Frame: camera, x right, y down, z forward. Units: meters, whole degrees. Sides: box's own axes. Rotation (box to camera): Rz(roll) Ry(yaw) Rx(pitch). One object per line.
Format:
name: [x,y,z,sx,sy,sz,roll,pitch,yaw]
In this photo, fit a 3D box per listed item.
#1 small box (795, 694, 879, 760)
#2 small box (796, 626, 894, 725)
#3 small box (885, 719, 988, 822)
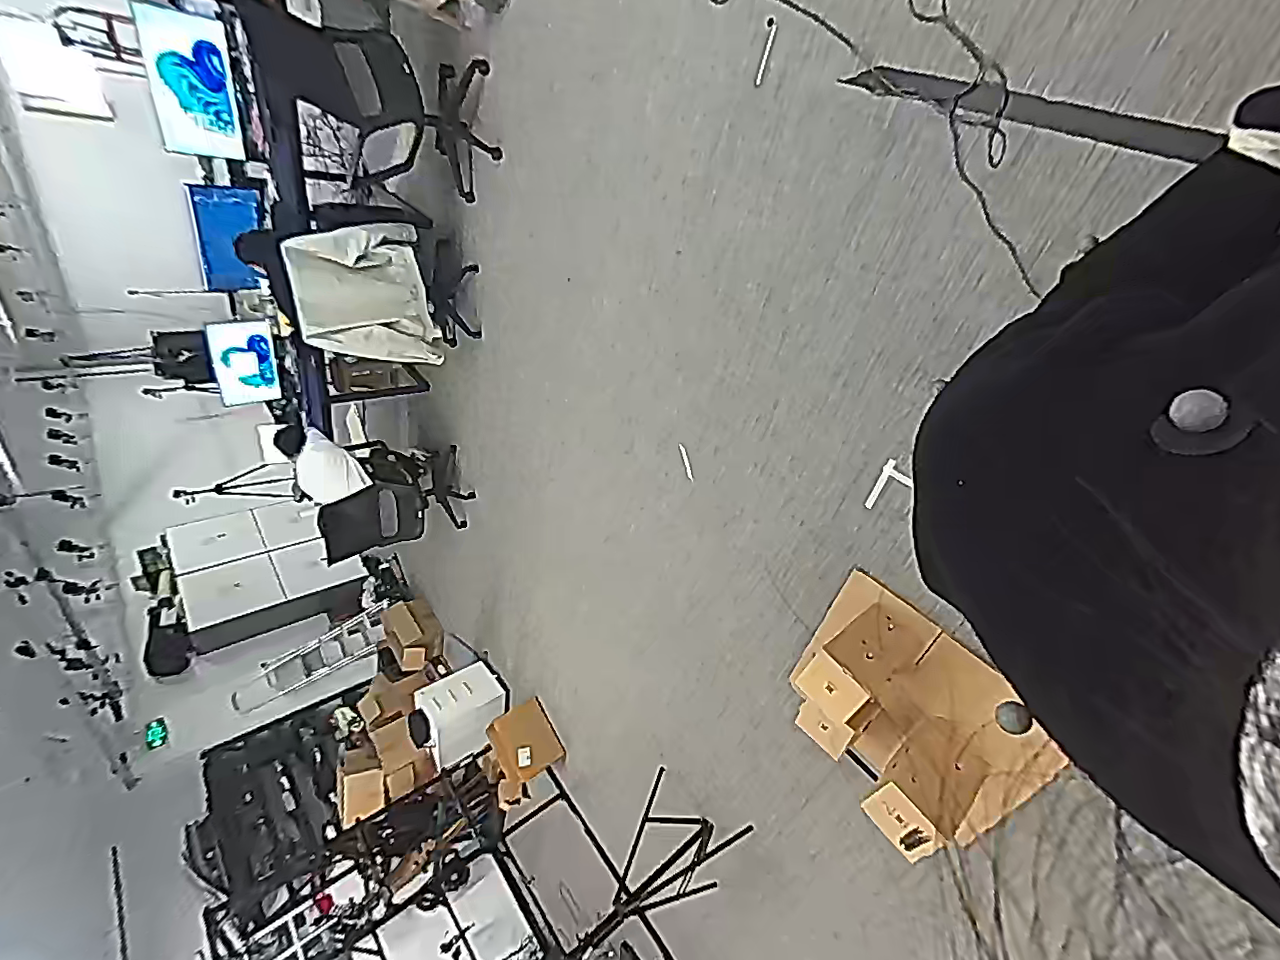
small box: [0.655,0.776,1.799,0.179,0.176,0.168,37,131,36]
small box: [0.585,0.551,1.537,0.168,0.176,0.179,44,132,31]
small box: [0.864,0.839,1.571,0.179,0.176,0.168,48,134,26]
